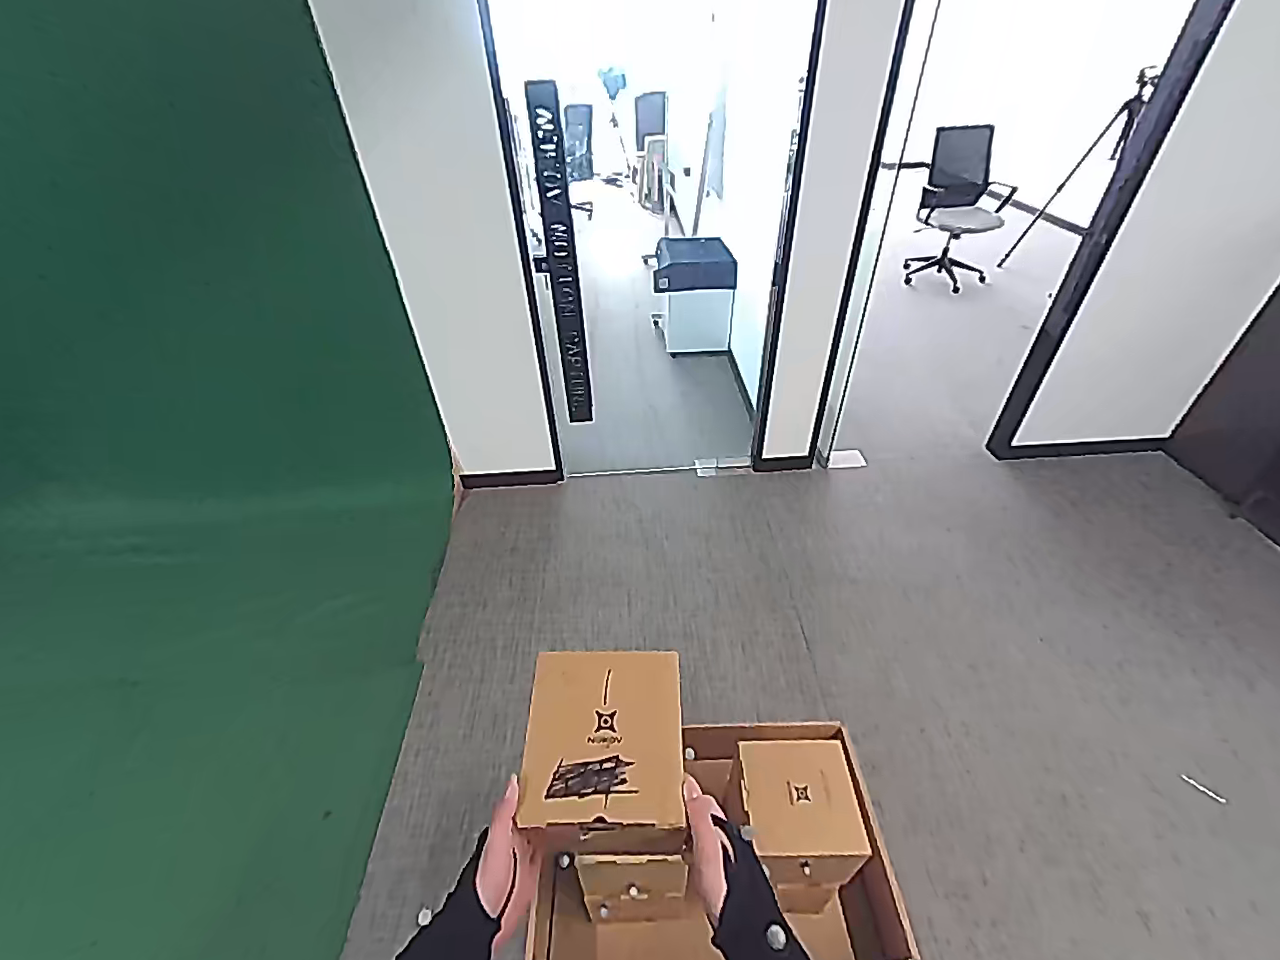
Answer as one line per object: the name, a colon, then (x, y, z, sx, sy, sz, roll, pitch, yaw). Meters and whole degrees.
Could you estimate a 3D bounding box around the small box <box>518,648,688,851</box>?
small box: (-0.033, 0.312, 0.622, 0.168, 0.176, 0.179, 0, 47, 0)

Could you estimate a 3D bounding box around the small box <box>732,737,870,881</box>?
small box: (0.250, 0.545, 0.894, 0.179, 0.176, 0.168, 0, 42, 0)

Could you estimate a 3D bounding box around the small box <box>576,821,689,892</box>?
small box: (-0.012, 0.549, 0.891, 0.168, 0.176, 0.179, -2, 40, 0)
